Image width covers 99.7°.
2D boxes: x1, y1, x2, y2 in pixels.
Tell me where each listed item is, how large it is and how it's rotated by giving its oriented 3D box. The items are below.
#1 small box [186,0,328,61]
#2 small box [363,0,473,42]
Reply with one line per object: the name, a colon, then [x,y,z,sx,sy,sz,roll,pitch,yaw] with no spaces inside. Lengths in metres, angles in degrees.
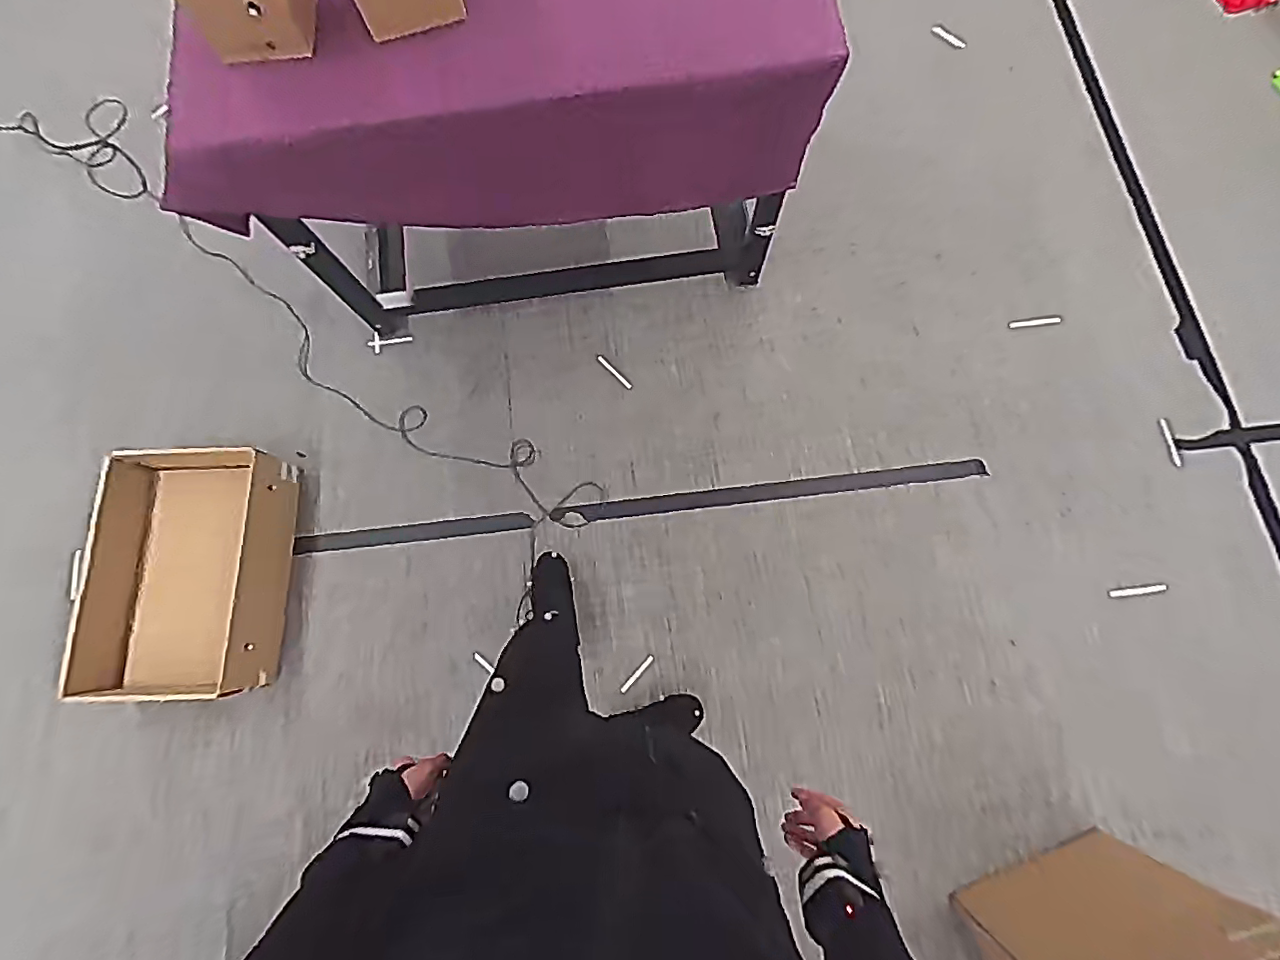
small box: [-0.670,-0.865,0.934,0.168,0.176,0.179,-3,77,0]
small box: [-0.413,-0.912,0.937,0.179,0.176,0.168,-17,77,-3]
